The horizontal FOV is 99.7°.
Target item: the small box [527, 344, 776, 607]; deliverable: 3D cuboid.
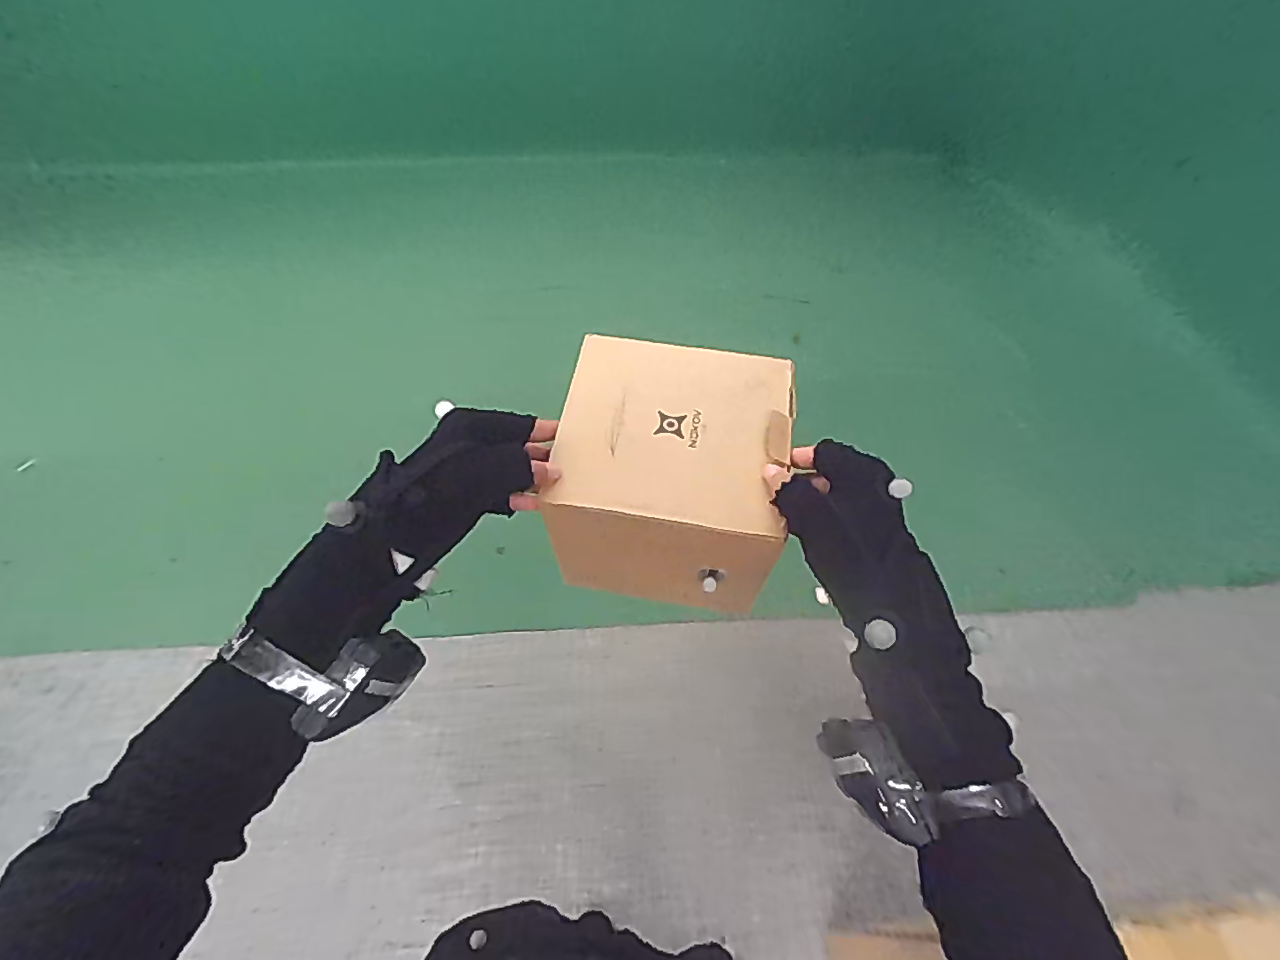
[{"bbox_3d":[0.018,0.004,0.483,0.179,0.176,0.168,5,58,5],"label":"small box"}]
